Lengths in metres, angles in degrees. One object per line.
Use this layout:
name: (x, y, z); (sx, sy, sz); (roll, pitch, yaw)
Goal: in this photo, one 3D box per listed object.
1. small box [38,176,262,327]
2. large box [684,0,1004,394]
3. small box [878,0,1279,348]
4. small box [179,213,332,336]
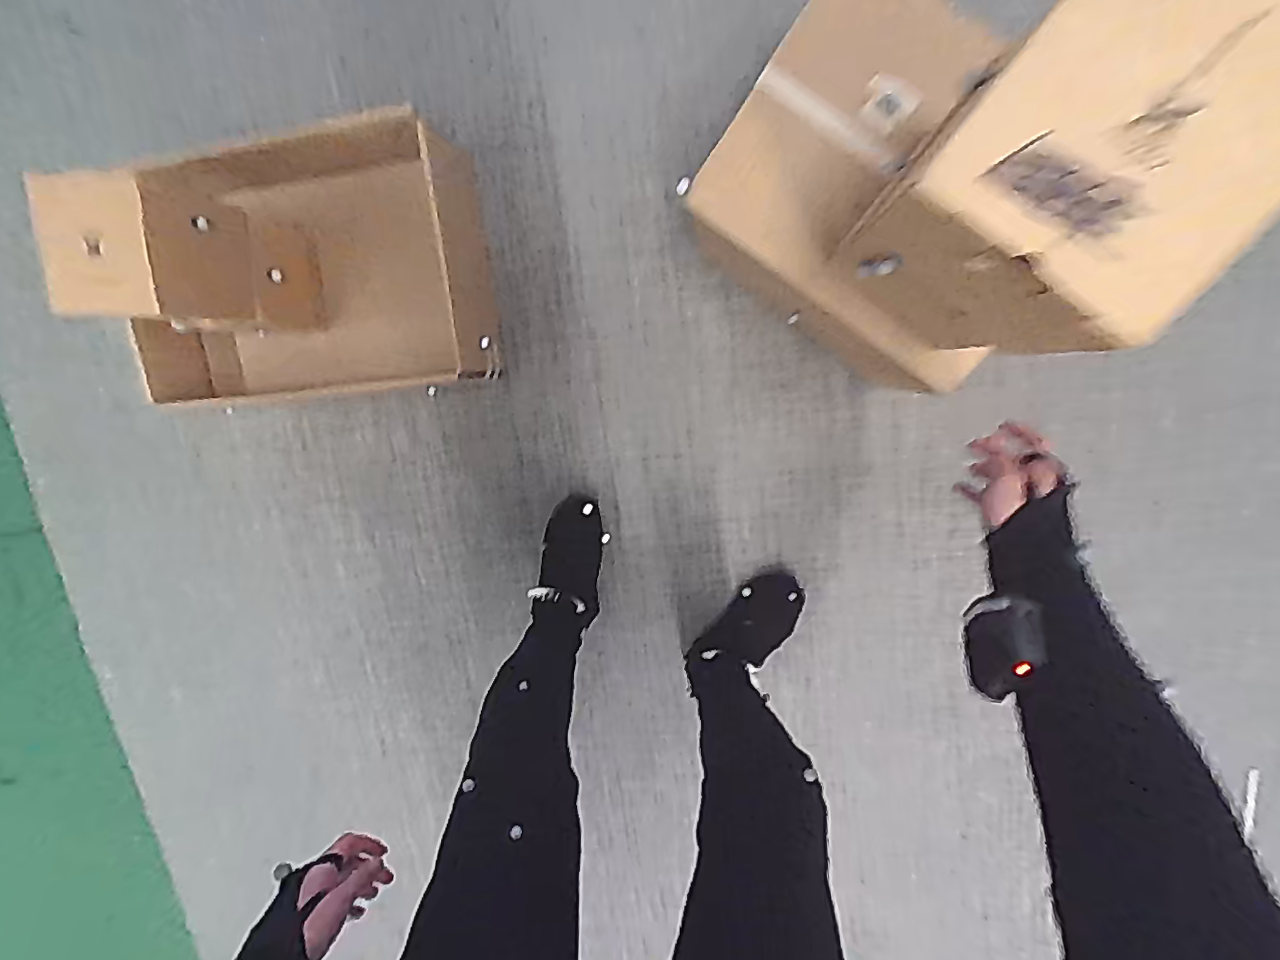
small box: (-0.699, -0.323, 0.793); (0.168, 0.176, 0.179); (3, 103, 6)
large box: (0.325, -0.362, 0.762); (0.408, 0.320, 0.320); (37, 104, 2)
small box: (0.293, -0.208, 0.375); (0.168, 0.176, 0.179); (38, 104, 1)
small box: (-0.680, -0.351, 0.953); (0.168, 0.176, 0.179); (-1, 102, 7)
